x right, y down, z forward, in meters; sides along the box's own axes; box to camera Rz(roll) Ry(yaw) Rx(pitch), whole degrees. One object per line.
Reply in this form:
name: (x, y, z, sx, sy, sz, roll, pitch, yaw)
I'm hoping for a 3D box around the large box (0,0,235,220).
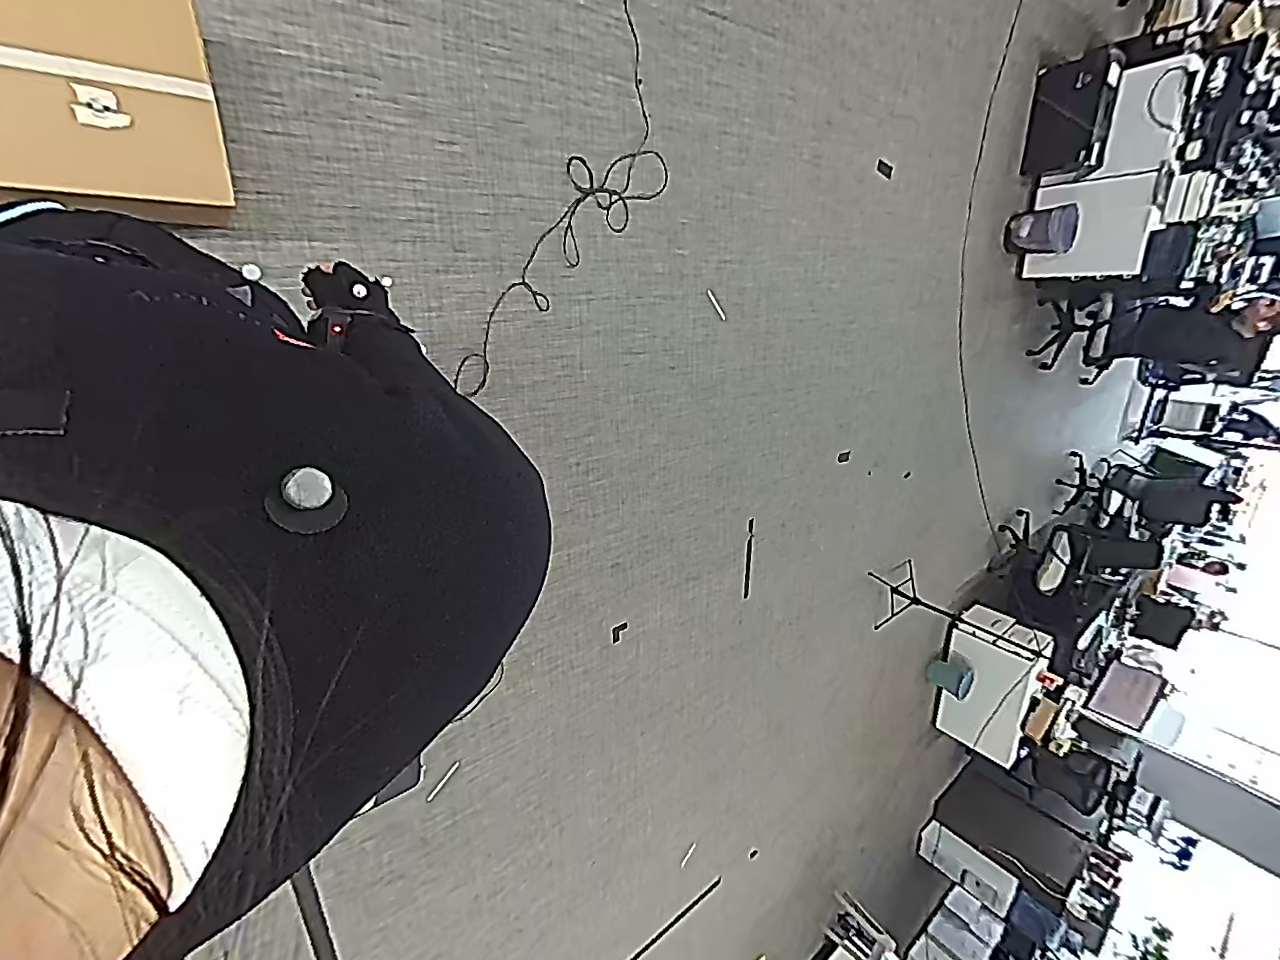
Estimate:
large box: (-0.904, -0.593, 0.821, 0.408, 0.320, 0.320, -14, 114, -37)
